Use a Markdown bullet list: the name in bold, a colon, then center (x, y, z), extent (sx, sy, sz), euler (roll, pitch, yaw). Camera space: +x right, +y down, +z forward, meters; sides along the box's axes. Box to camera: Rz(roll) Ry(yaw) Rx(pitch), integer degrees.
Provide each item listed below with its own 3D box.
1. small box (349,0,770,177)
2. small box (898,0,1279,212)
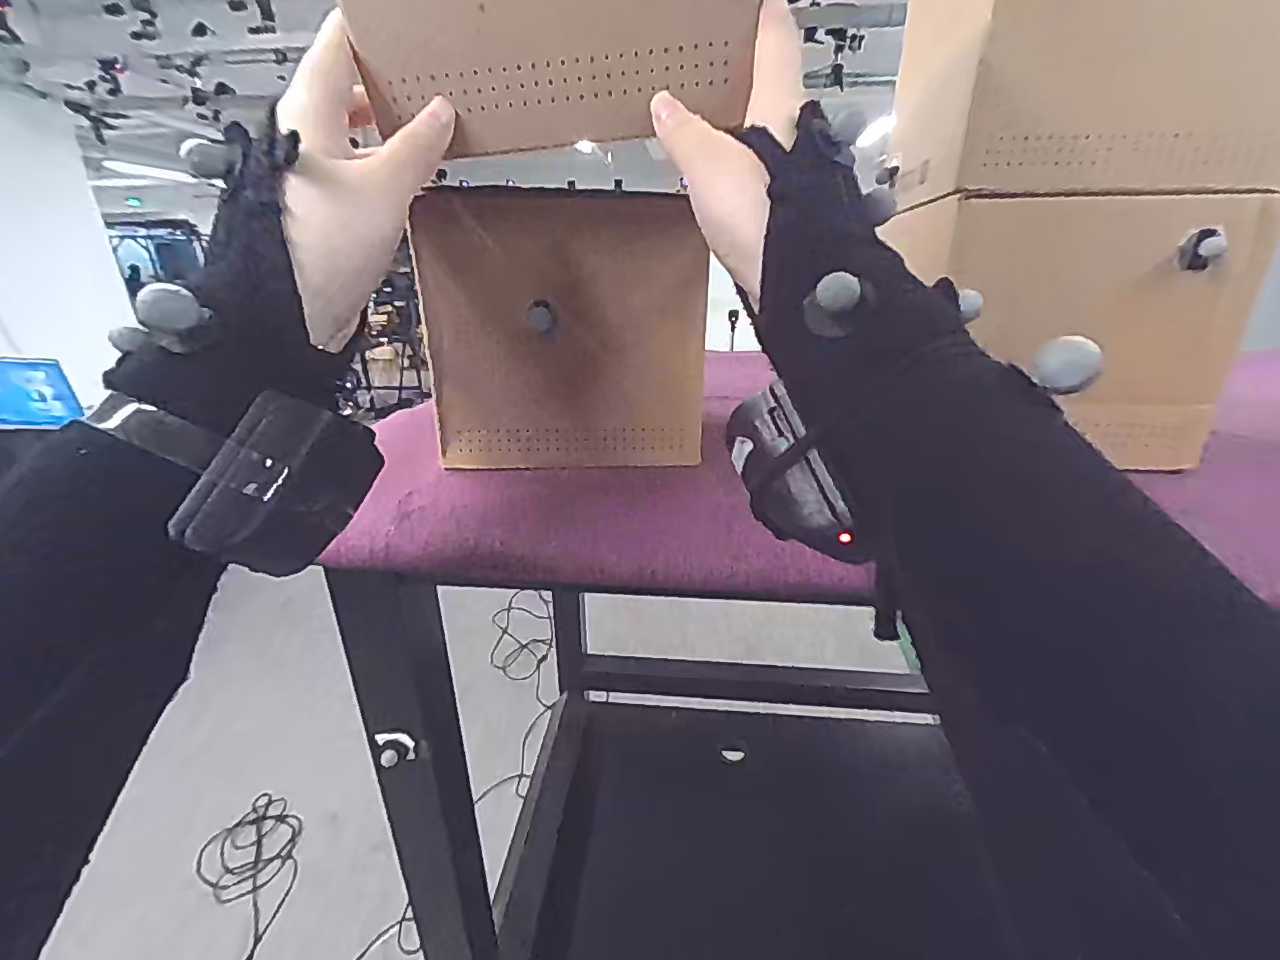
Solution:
- **small box**: center (-0.034, -0.260, 0.265), extent (0.179, 0.176, 0.168), euler (-6, 33, 3)
- **small box**: center (0.285, -0.267, 0.350), extent (0.179, 0.176, 0.168), euler (4, 21, 6)
